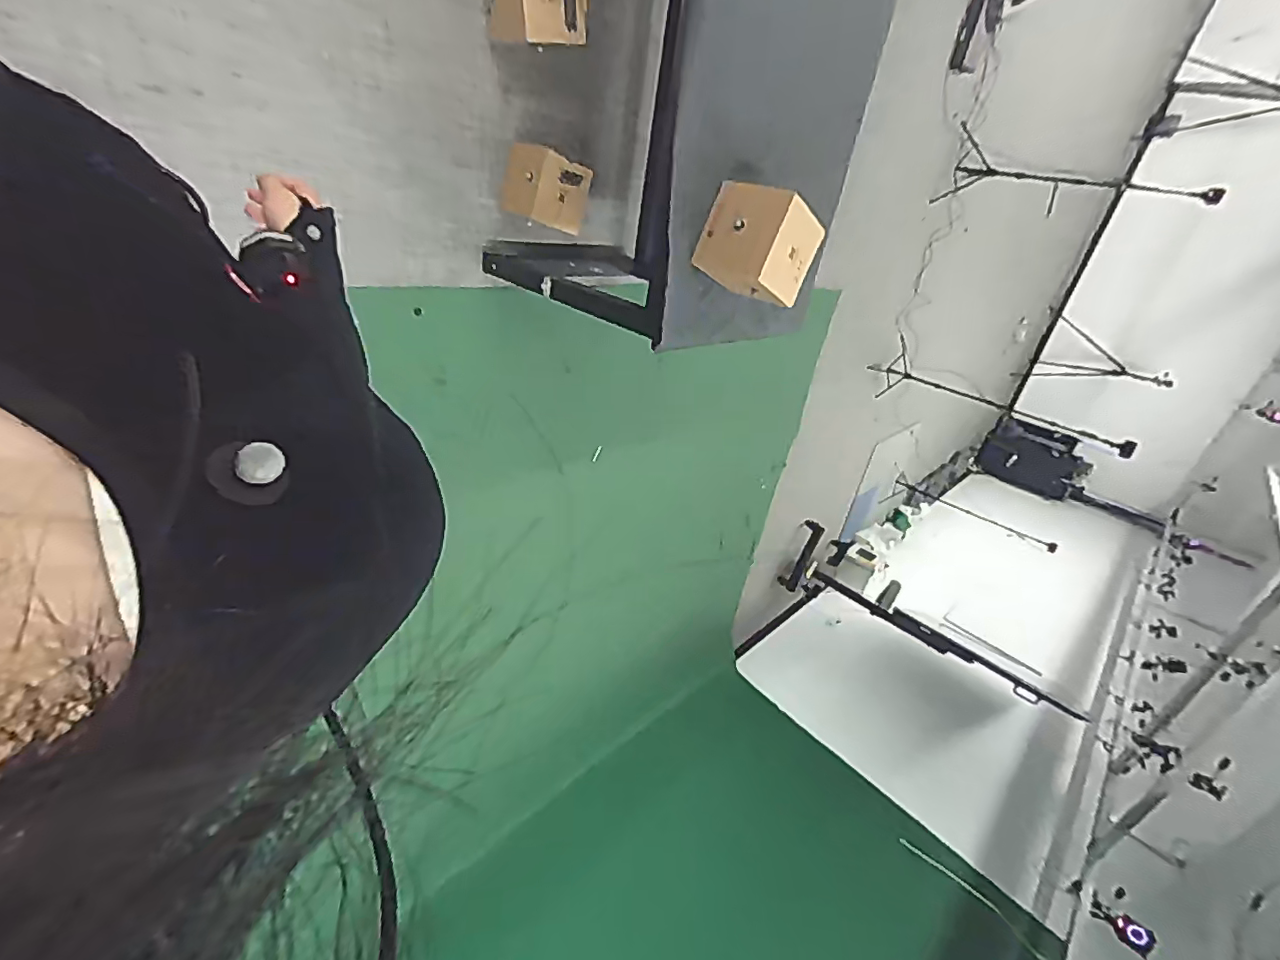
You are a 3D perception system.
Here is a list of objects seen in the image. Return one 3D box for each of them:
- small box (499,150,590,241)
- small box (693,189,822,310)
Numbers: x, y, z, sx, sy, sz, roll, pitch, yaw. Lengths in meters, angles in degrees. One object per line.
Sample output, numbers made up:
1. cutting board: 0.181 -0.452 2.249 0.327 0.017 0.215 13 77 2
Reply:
1. small box: -0.273 -0.798 1.515 0.168 0.176 0.179 -4 120 -49
2. small box: 0.236 -0.470 1.104 0.179 0.176 0.168 6 111 -54
